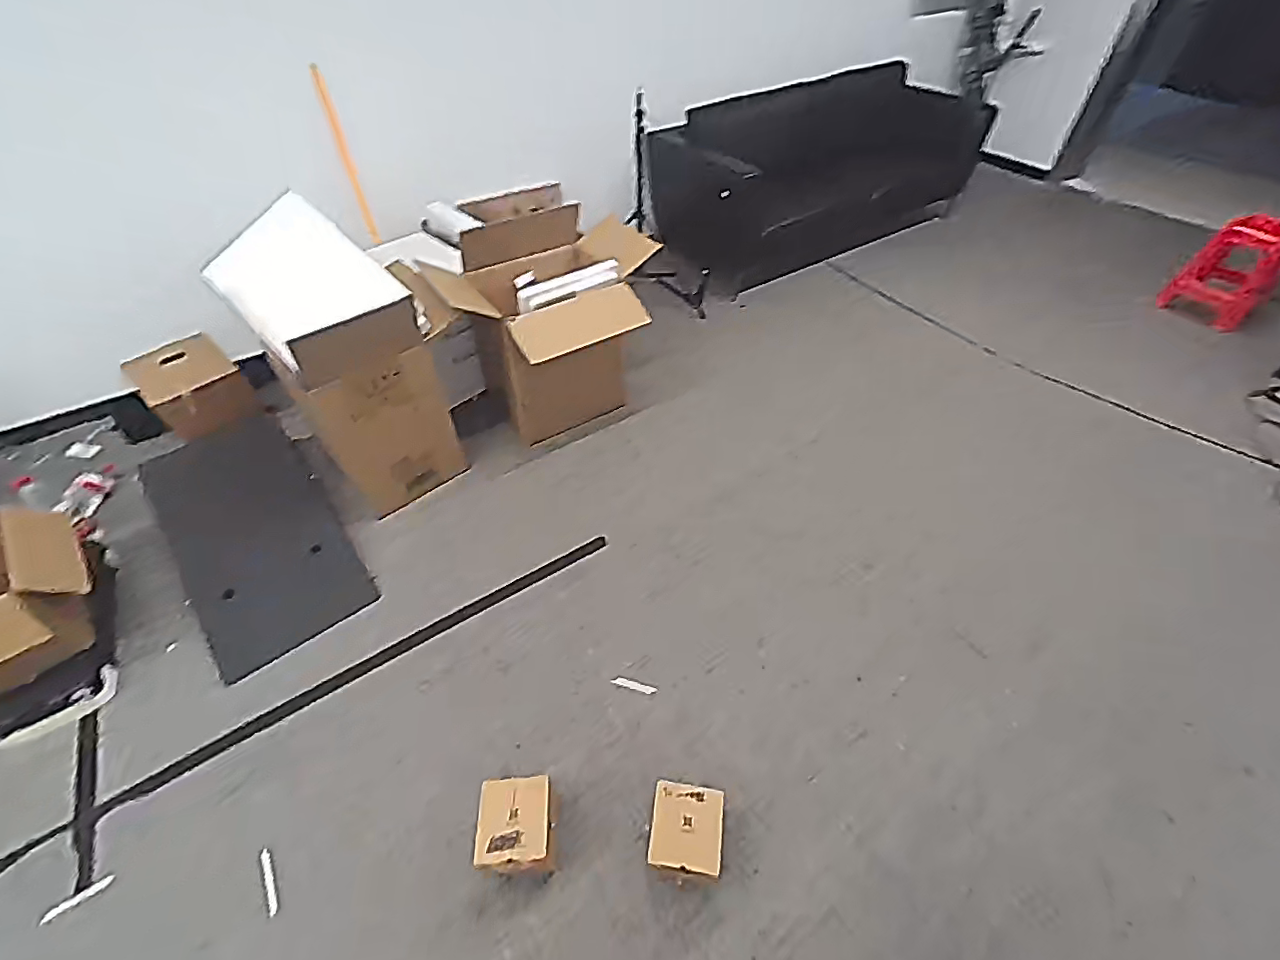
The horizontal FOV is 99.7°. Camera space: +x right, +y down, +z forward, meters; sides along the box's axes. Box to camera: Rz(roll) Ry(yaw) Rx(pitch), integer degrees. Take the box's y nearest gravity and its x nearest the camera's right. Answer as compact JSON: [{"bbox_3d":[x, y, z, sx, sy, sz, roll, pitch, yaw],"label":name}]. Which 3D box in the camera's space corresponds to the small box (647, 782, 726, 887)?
[{"bbox_3d":[0.113,0.863,1.313,0.168,0.176,0.179,8,49,7],"label":"small box"}]

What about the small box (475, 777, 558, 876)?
[{"bbox_3d":[-0.293,0.854,1.325,0.168,0.176,0.179,-3,46,-3],"label":"small box"}]
